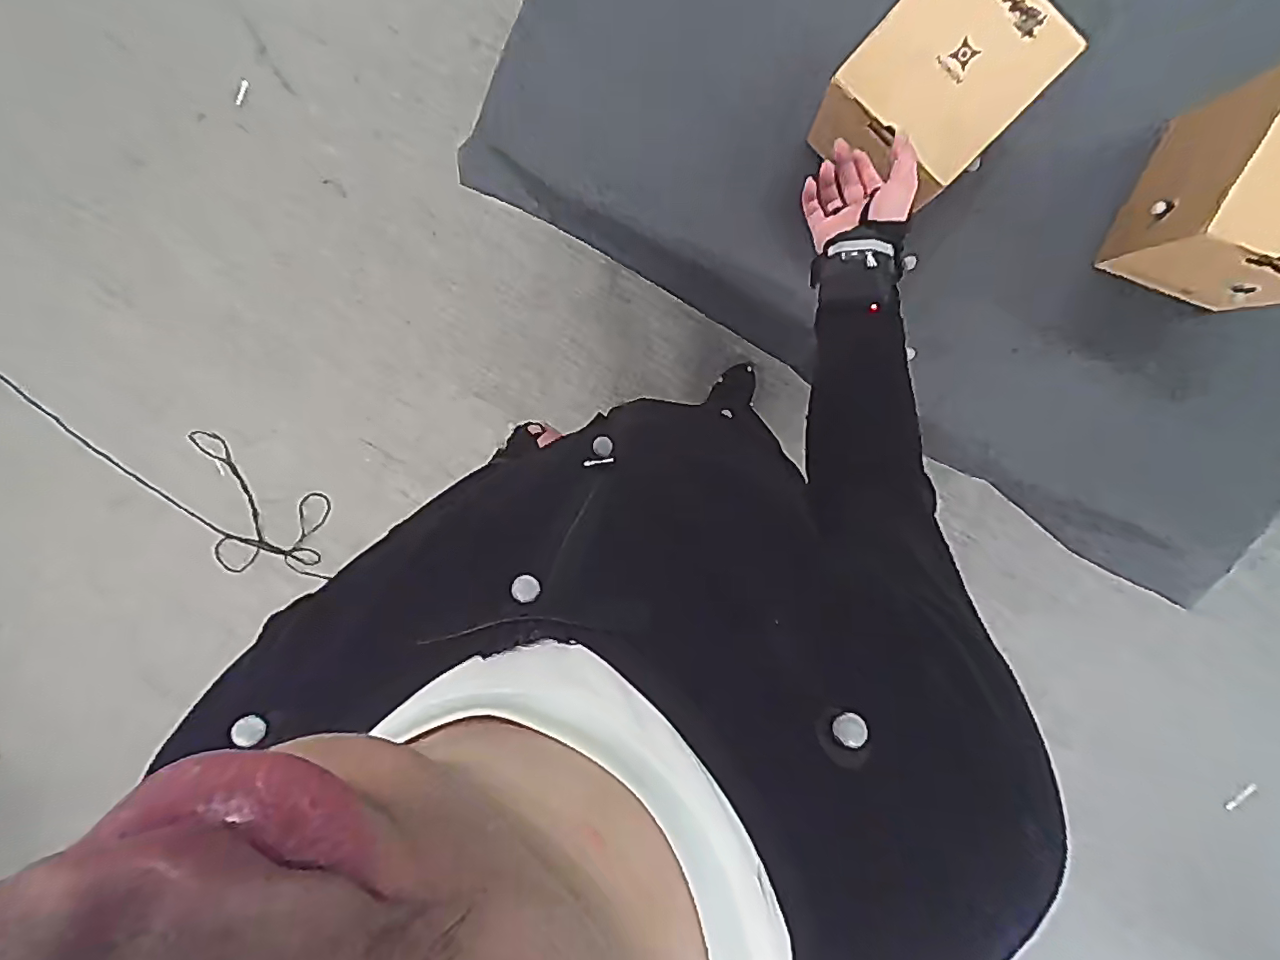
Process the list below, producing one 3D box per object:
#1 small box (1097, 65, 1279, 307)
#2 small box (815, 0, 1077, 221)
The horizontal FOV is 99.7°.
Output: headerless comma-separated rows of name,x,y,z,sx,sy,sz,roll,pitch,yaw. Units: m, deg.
small box,0.671,-0.308,0.601,0.168,0.176,0.179,22,103,1
small box,0.322,-0.434,0.619,0.168,0.176,0.179,44,104,-4
